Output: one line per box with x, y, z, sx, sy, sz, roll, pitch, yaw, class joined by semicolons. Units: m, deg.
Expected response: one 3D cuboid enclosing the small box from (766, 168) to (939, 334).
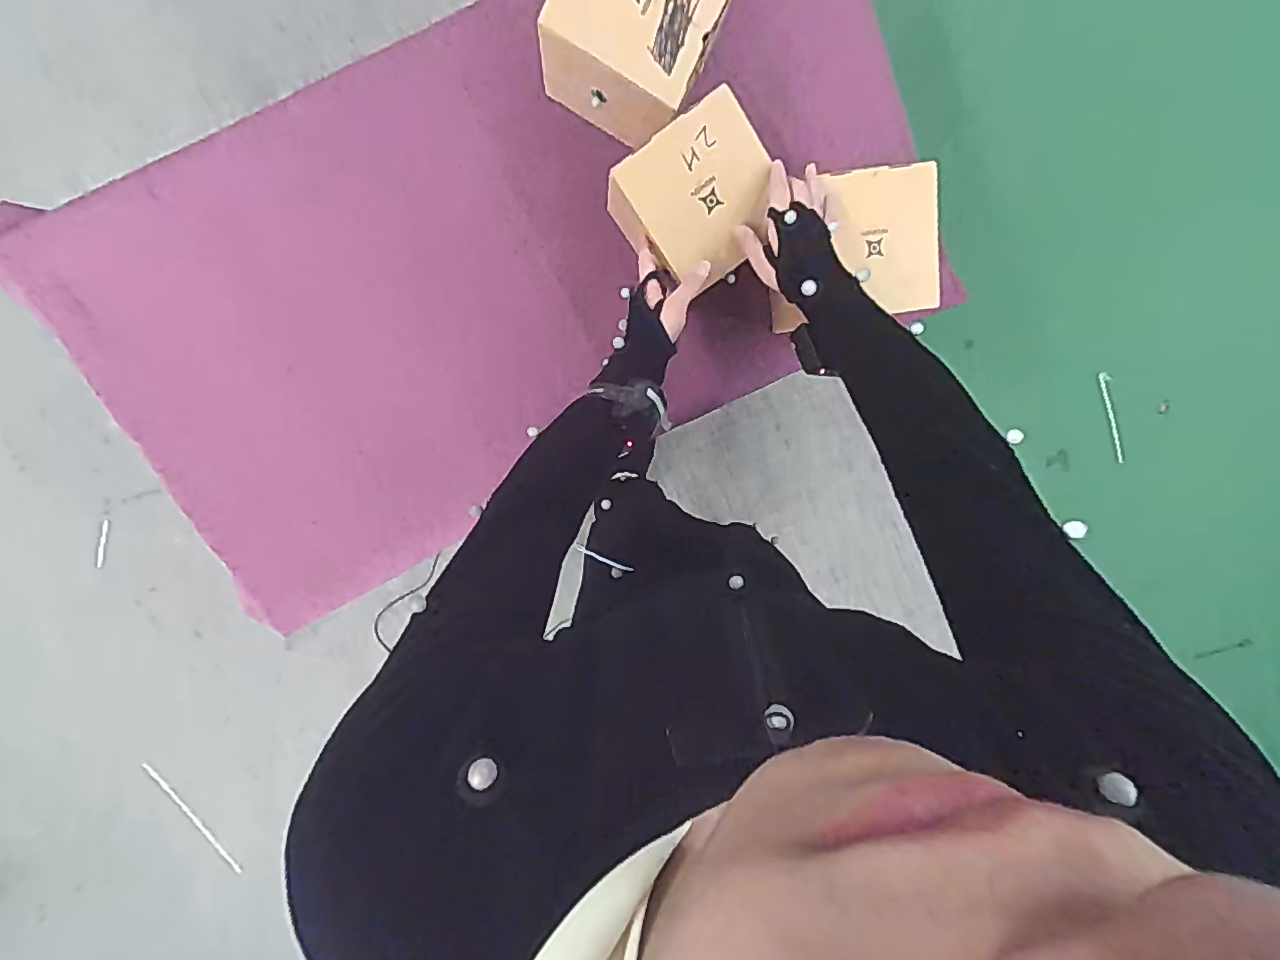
0.282;-0.299;0.743;0.168;0.176;0.179;-9;102;-5;small box
